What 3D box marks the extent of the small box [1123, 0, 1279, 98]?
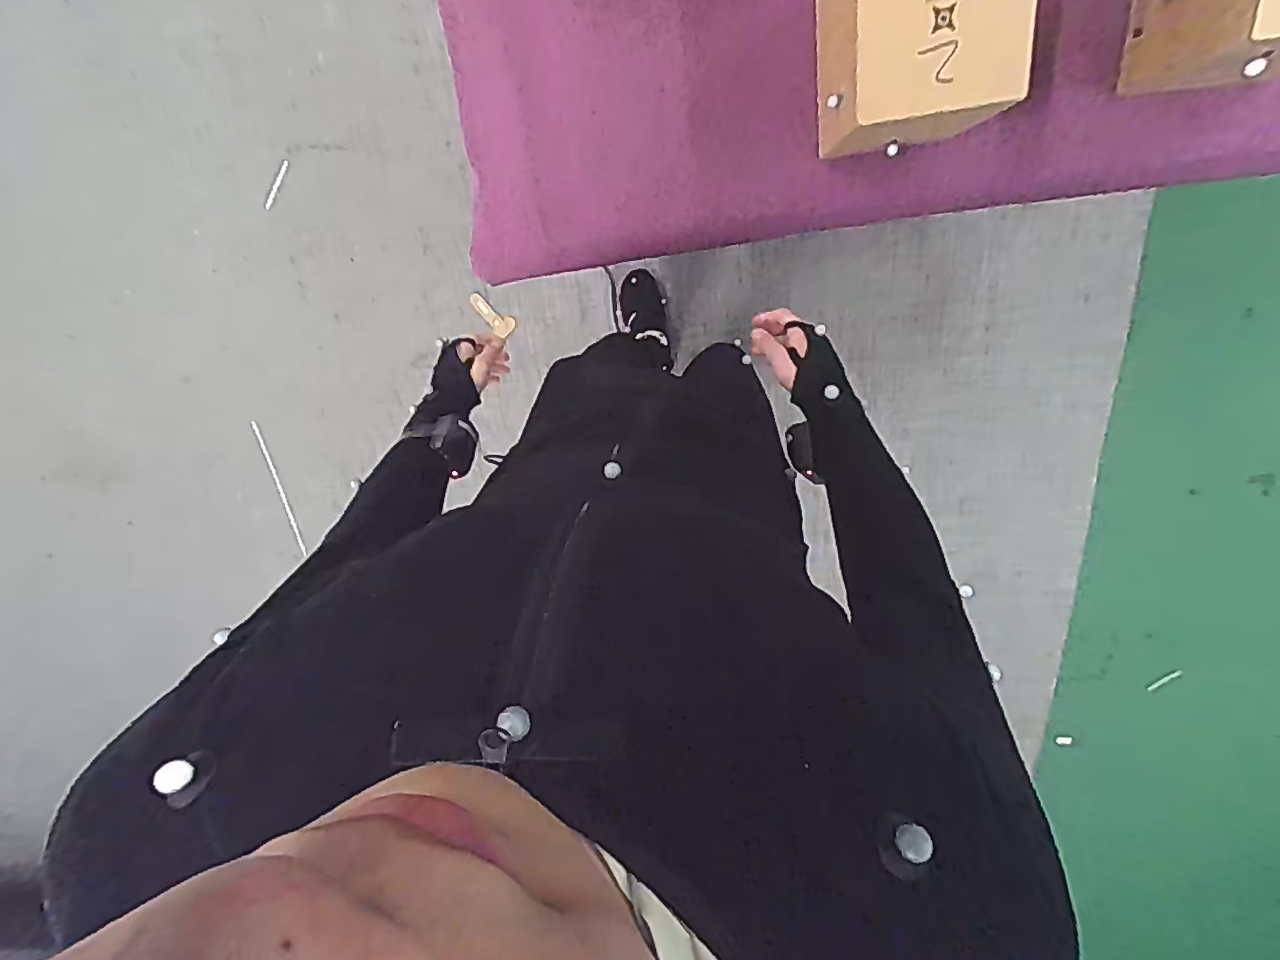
[{"bbox_3d":[0.648,-0.511,0.544,0.179,0.176,0.168,-3,110,6],"label":"small box"}]
